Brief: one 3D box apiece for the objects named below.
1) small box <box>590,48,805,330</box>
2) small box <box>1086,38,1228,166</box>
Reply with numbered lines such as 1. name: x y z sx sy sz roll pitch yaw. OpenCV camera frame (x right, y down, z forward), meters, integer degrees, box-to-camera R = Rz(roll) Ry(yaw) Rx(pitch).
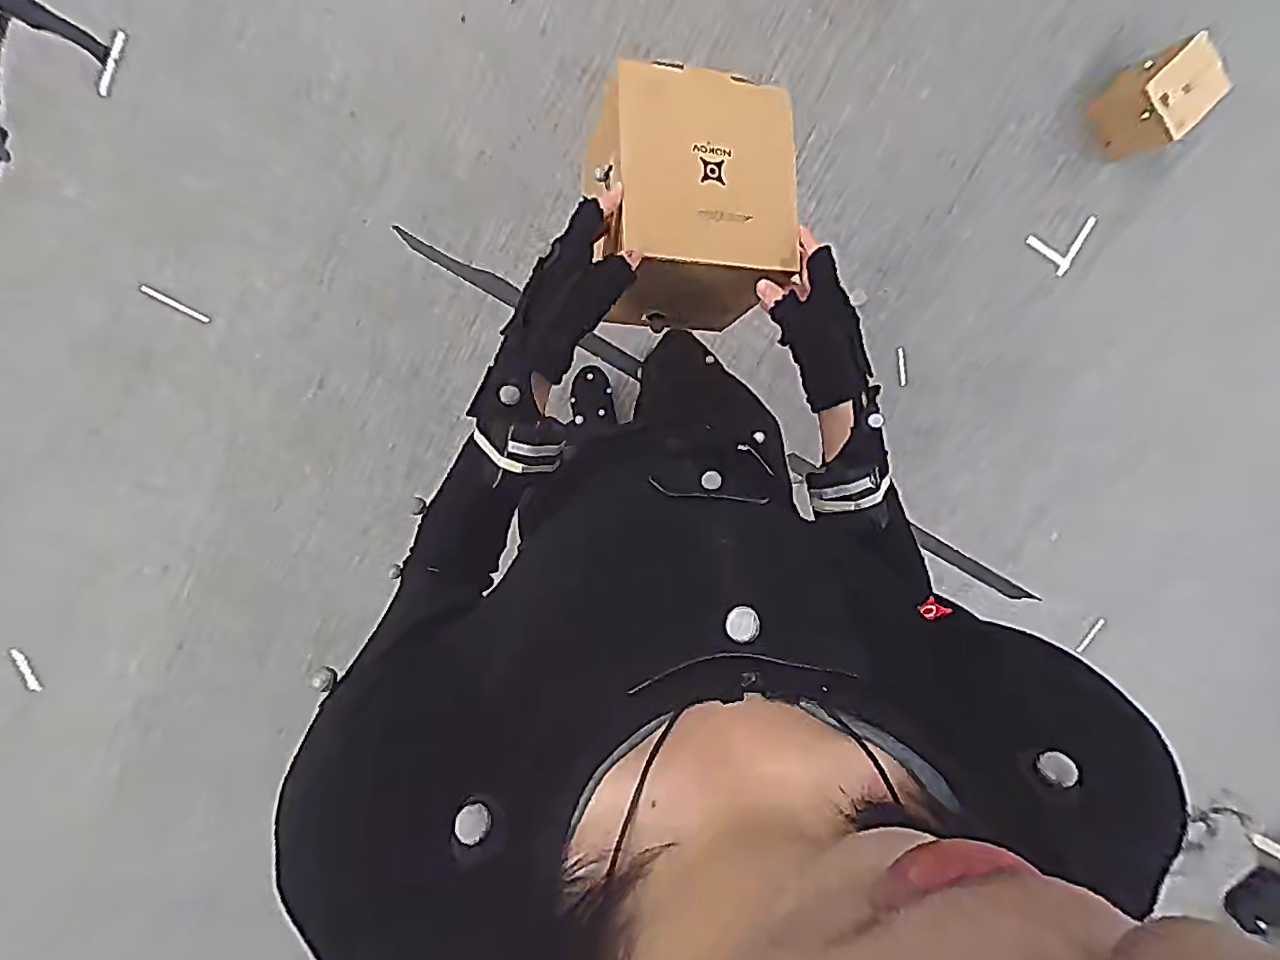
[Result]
1. small box: 0.045 -0.269 0.543 0.168 0.176 0.179 -1 86 -16
2. small box: 1.308 -0.951 1.379 0.168 0.176 0.179 43 95 -15
